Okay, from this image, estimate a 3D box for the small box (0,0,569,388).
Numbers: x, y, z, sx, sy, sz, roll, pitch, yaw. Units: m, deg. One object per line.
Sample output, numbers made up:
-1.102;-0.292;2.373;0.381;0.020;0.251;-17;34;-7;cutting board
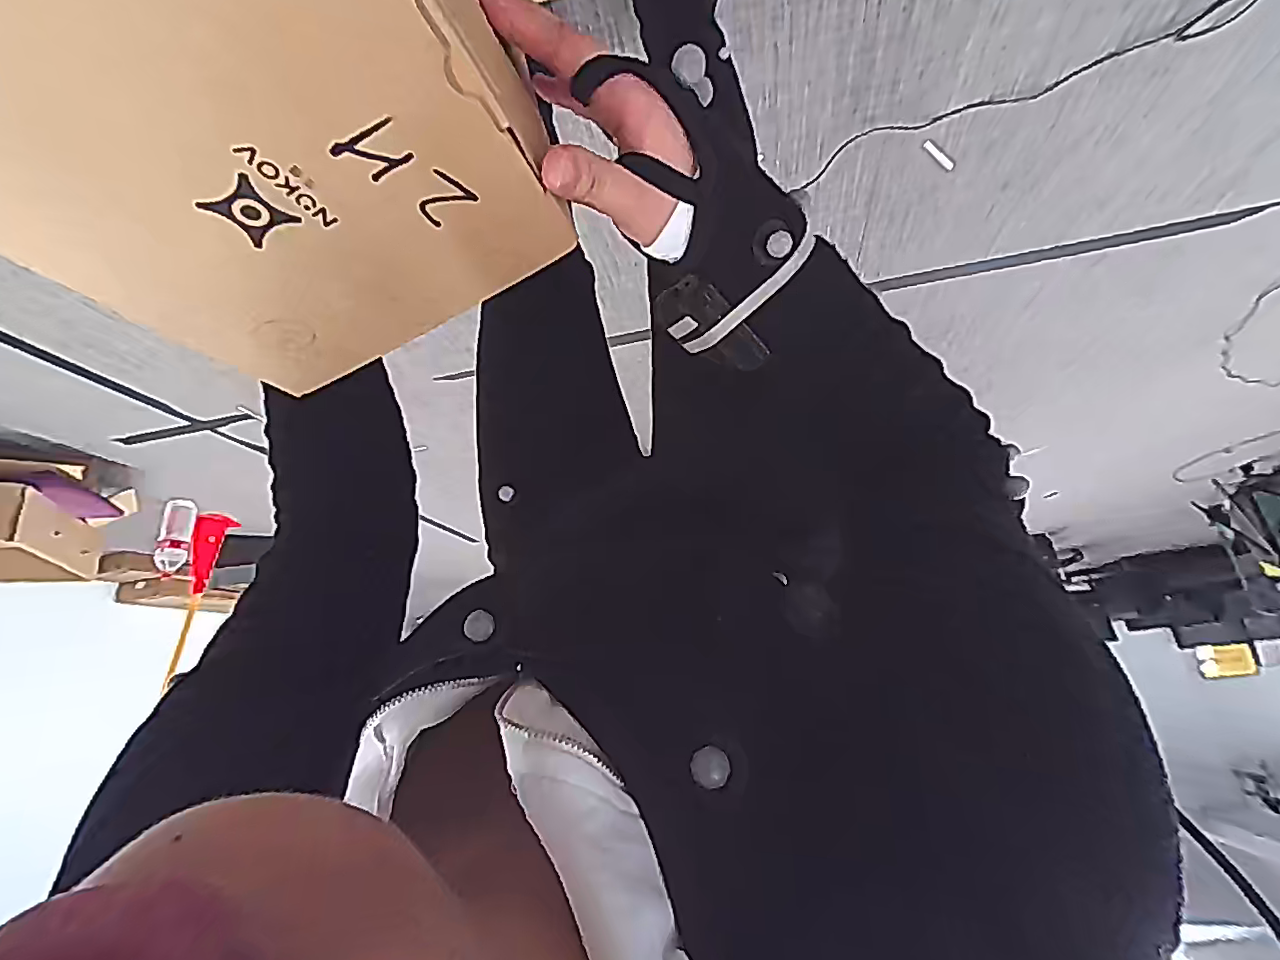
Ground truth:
-0.156;-0.175;0.233;0.179;0.176;0.168;-23;156;13;small box
